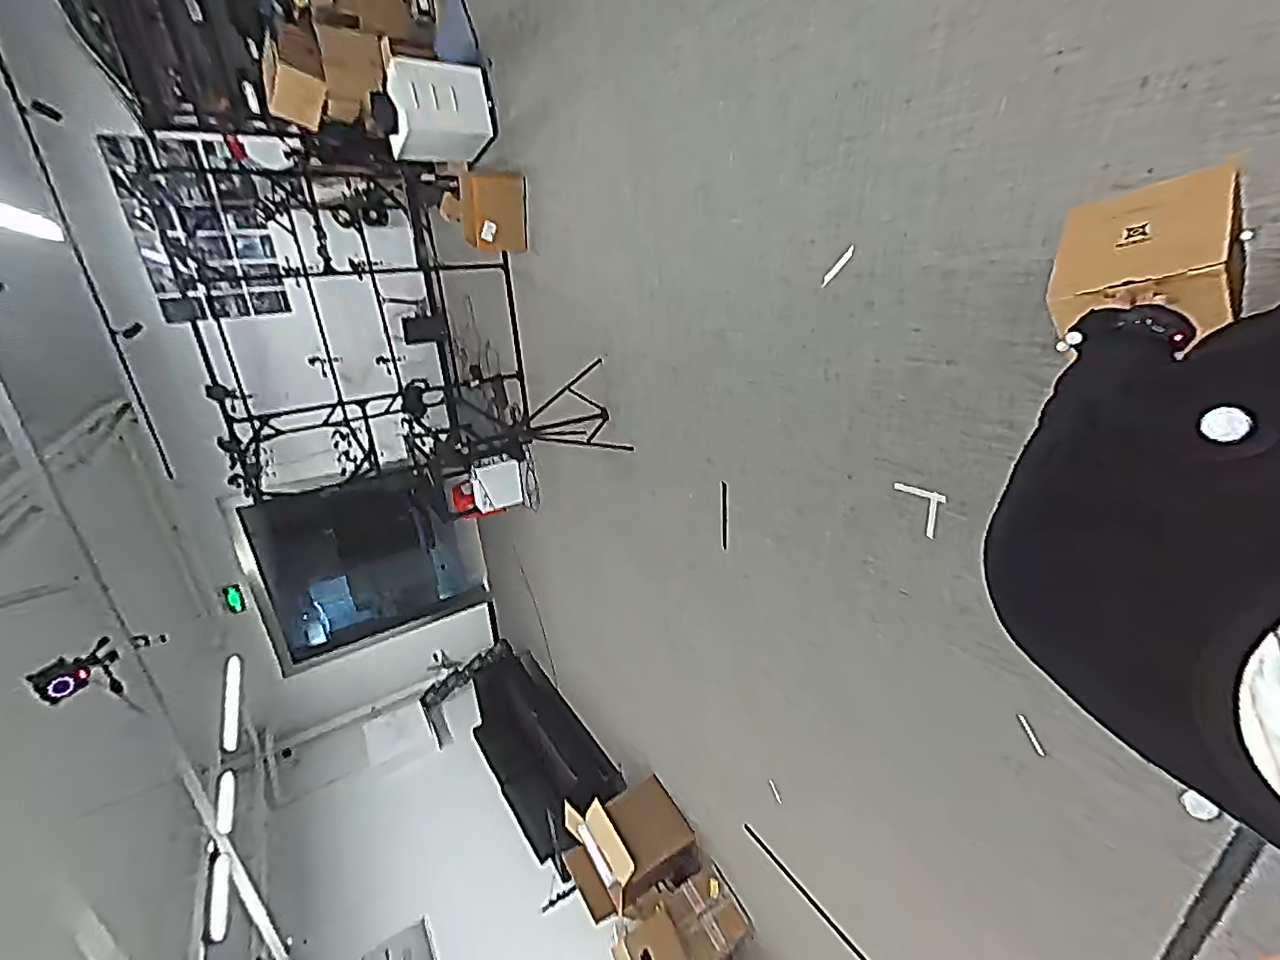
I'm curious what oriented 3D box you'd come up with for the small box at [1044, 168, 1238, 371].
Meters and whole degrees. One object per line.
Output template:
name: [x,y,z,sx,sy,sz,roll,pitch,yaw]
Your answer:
small box: [0.679,-0.263,0.730,0.176,0.179,0.168,39,157,-33]
